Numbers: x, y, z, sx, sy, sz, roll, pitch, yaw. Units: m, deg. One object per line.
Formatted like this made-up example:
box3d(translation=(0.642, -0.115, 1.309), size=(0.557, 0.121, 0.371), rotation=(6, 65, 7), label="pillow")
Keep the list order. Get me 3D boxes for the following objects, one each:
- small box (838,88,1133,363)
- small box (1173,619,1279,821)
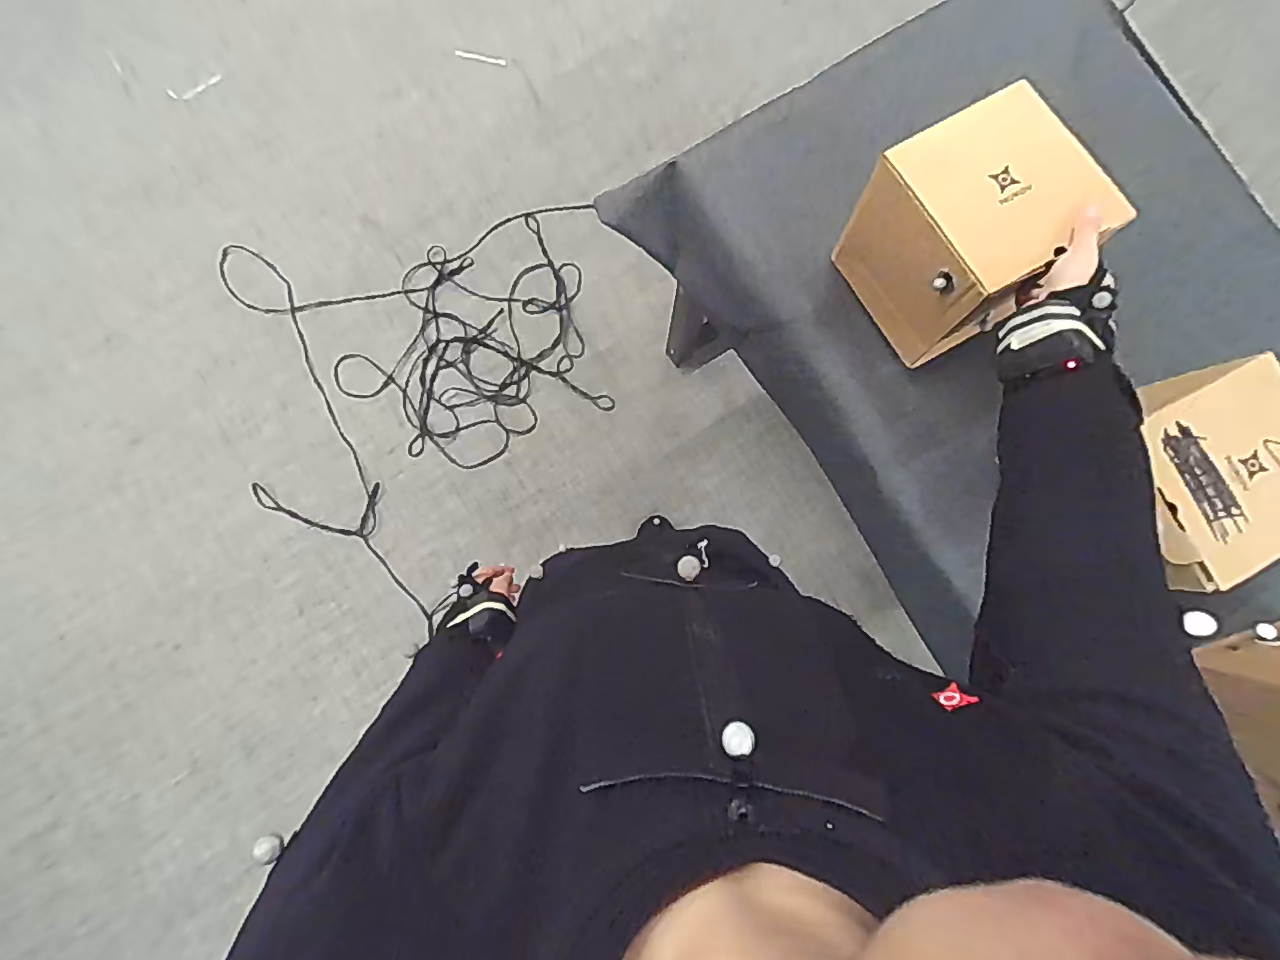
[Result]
box3d(translation=(0.348, -0.260, 0.589), size=(0.168, 0.176, 0.179), rotation=(-29, 80, -4), label="small box")
box3d(translation=(0.728, 0.260, 0.556), size=(0.168, 0.176, 0.179), rotation=(-17, 84, -3), label="small box")
